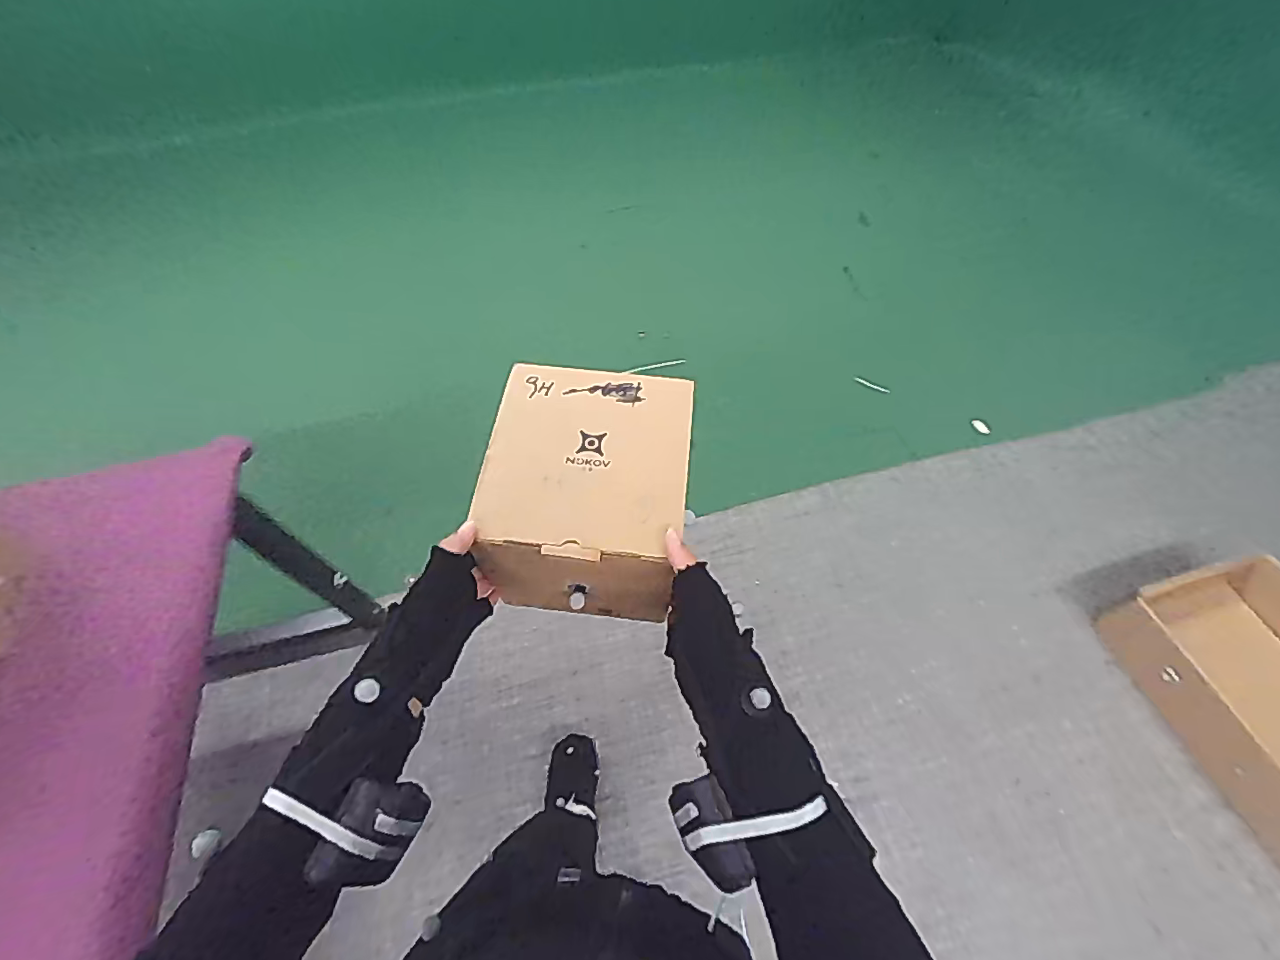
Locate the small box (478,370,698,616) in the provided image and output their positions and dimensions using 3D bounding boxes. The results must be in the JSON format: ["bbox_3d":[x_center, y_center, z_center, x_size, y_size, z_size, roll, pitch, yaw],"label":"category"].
[{"bbox_3d":[-0.035,0.020,0.512,0.168,0.176,0.179,4,60,2],"label":"small box"}]
